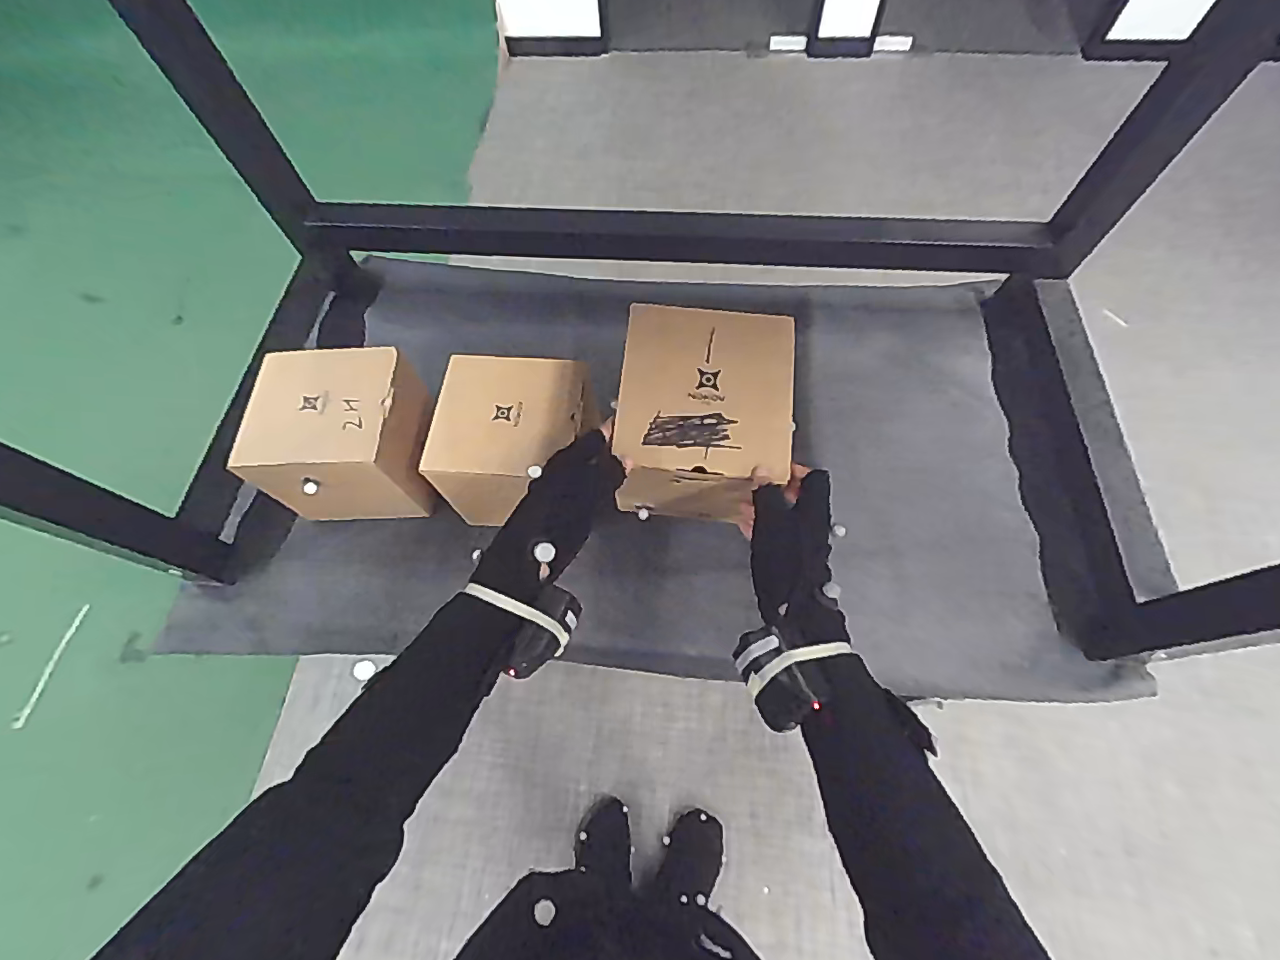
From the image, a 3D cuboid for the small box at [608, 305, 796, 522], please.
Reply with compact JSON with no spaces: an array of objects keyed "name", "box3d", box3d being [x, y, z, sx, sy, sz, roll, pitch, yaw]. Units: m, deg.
[{"name":"small box","box3d":[0.064,-0.060,0.586,0.168,0.176,0.179,6,72,3]}]
